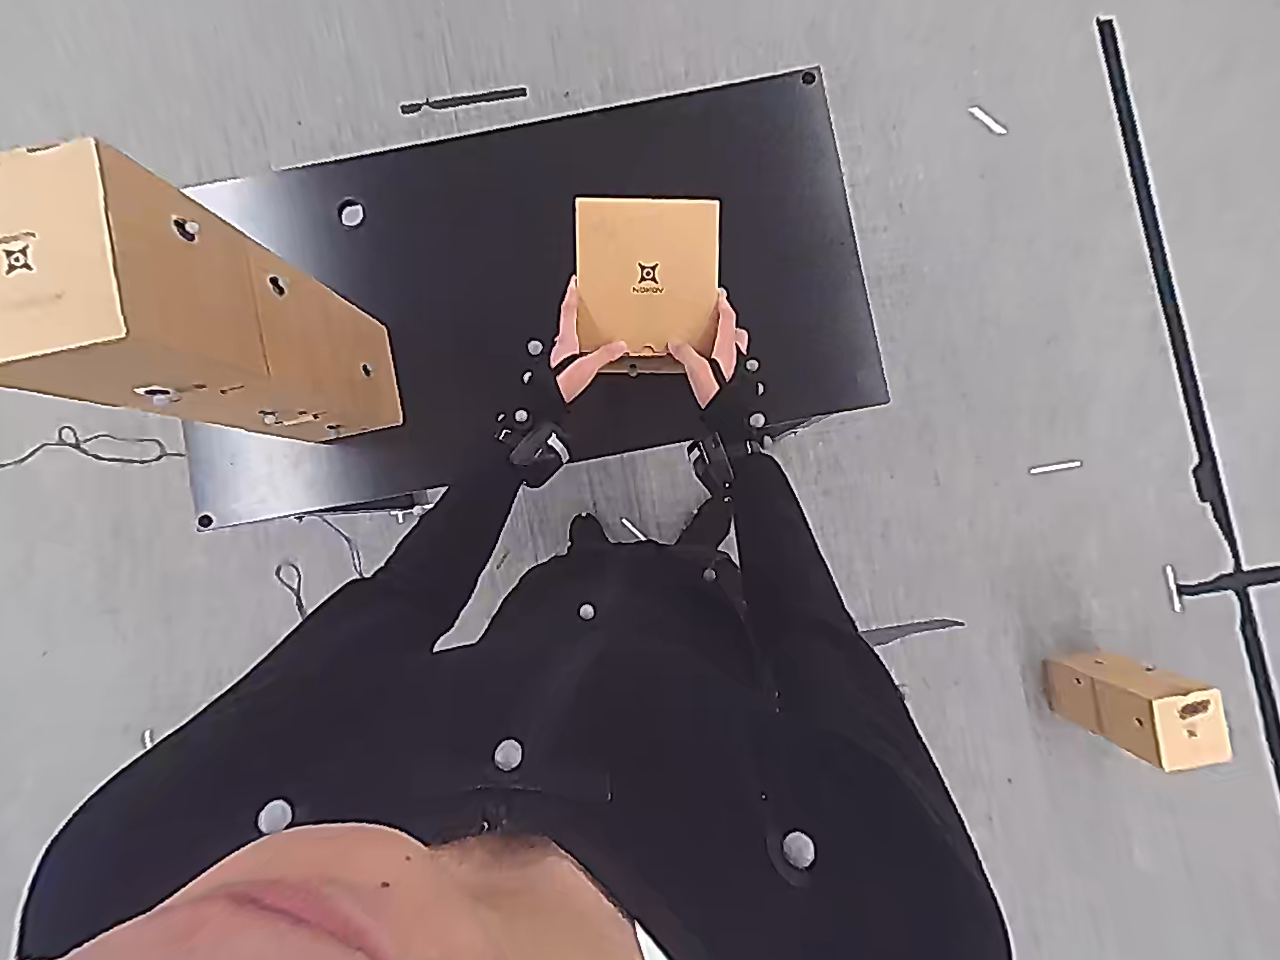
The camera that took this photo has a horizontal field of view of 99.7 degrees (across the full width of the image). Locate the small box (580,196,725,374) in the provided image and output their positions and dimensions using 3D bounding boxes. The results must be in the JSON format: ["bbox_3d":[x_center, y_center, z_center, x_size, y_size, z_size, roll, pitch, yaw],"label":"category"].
[{"bbox_3d":[0.008,-0.235,0.691,0.168,0.176,0.179,0,95,-3],"label":"small box"}]

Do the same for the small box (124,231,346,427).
[{"bbox_3d":[-0.503,-0.176,0.680,0.168,0.176,0.179,-11,88,1],"label":"small box"}]

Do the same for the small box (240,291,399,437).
[{"bbox_3d":[-0.501,-0.167,0.844,0.168,0.176,0.179,-12,88,0],"label":"small box"}]

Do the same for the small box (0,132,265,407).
[{"bbox_3d":[-0.505,-0.182,0.517,0.168,0.176,0.179,-12,88,2],"label":"small box"}]

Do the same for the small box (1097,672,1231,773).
[{"bbox_3d":[1.294,0.593,1.349,0.168,0.176,0.179,-10,89,0],"label":"small box"}]
